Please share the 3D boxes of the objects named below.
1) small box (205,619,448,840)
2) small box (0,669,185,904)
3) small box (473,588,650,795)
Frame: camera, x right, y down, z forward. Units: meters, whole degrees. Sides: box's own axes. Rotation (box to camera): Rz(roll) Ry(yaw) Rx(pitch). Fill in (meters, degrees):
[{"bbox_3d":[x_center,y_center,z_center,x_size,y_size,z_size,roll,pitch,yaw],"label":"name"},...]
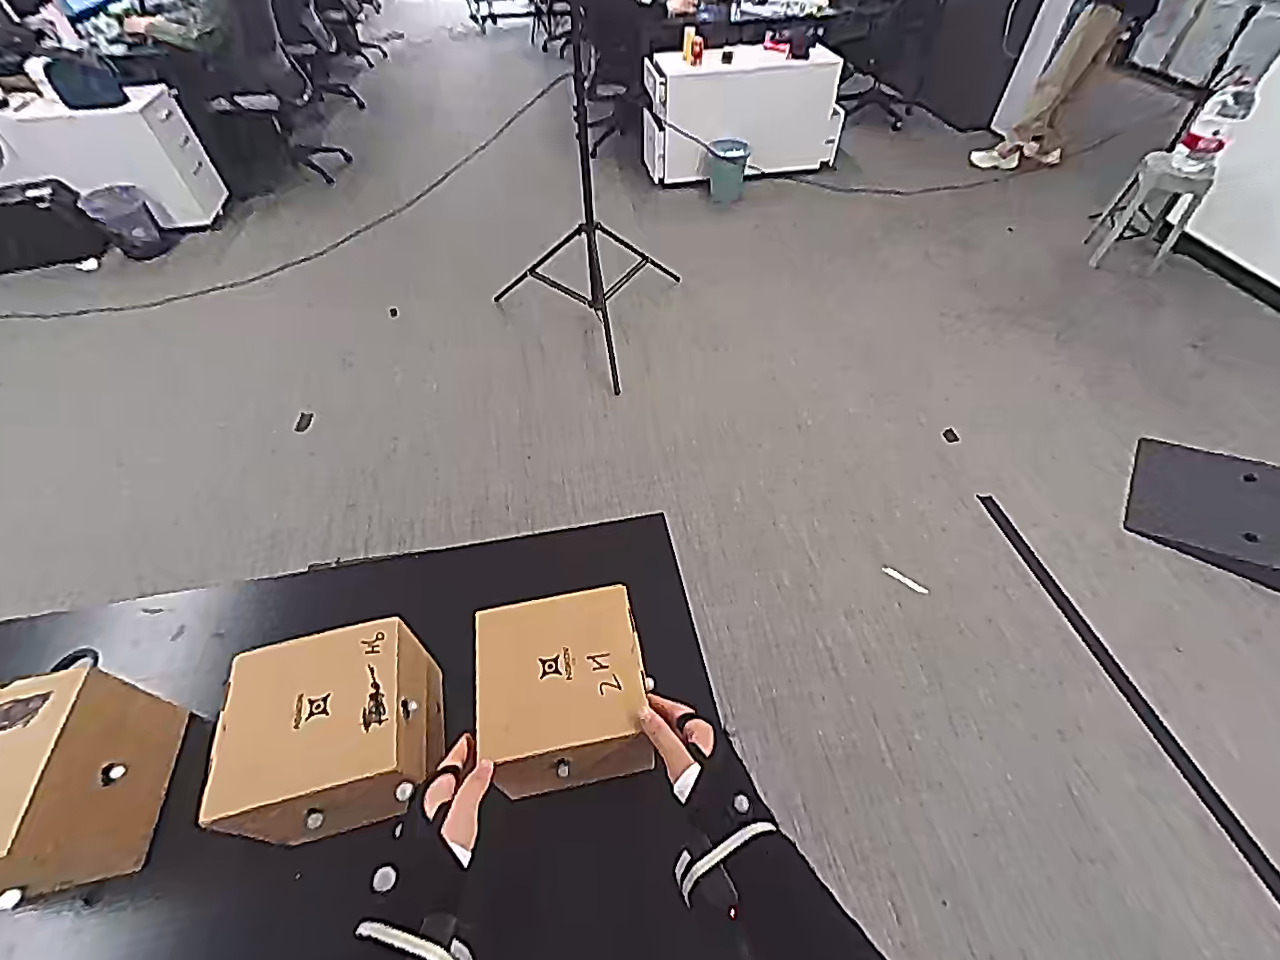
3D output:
[{"bbox_3d":[-0.335,0.288,0.618,0.179,0.176,0.168,-13,52,-9],"label":"small box"},{"bbox_3d":[-0.649,0.333,0.585,0.168,0.176,0.179,-10,51,-7],"label":"small box"},{"bbox_3d":[-0.088,0.254,0.641,0.179,0.176,0.168,-9,51,-6],"label":"small box"}]
